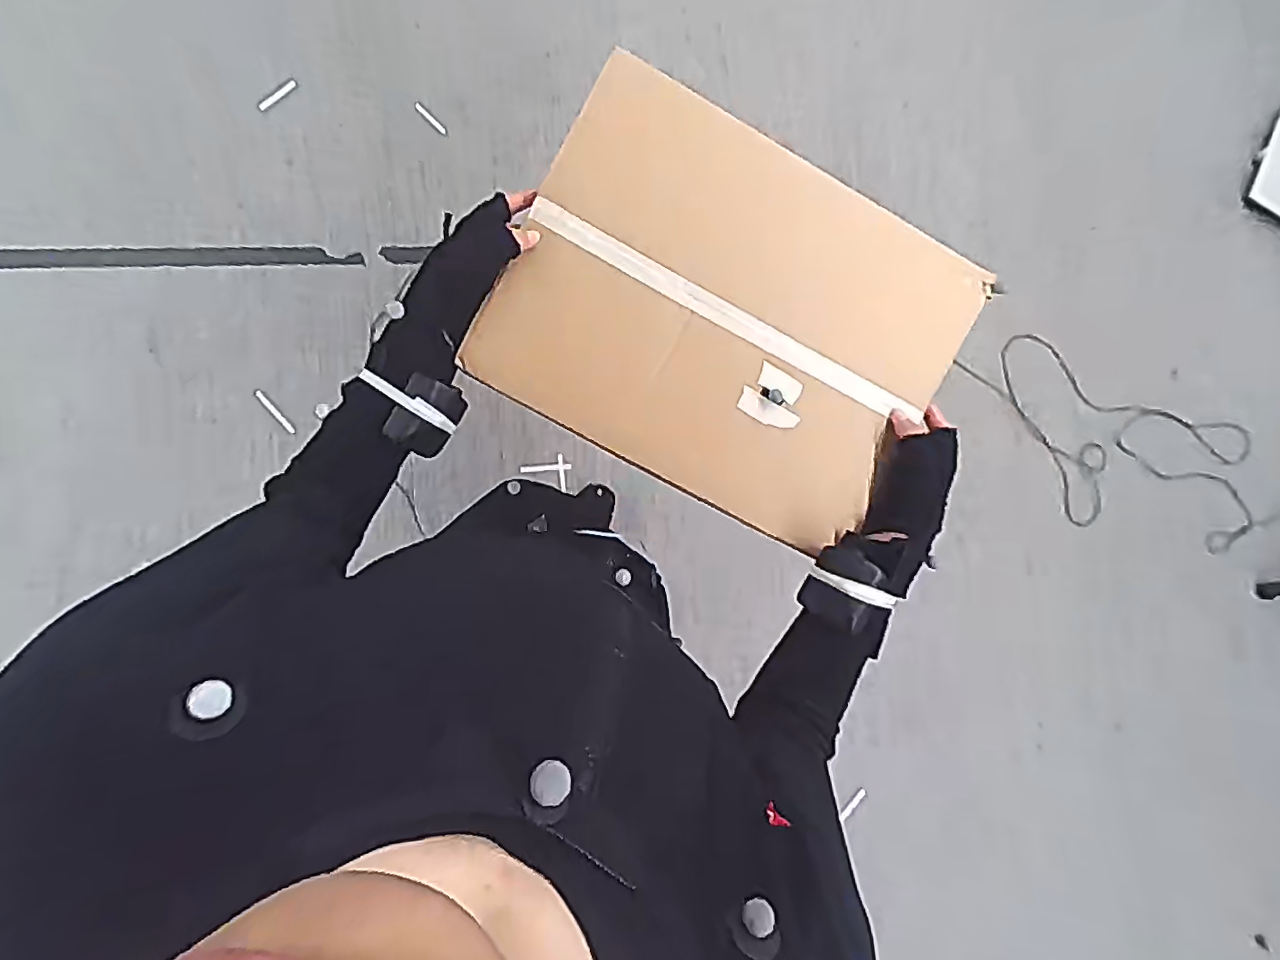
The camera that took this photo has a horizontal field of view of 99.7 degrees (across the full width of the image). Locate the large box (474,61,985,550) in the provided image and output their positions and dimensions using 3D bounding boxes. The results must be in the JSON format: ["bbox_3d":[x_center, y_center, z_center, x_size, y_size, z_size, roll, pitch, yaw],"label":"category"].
[{"bbox_3d":[0.078,-0.164,0.652,0.408,0.320,0.320,29,92,-6],"label":"large box"}]
